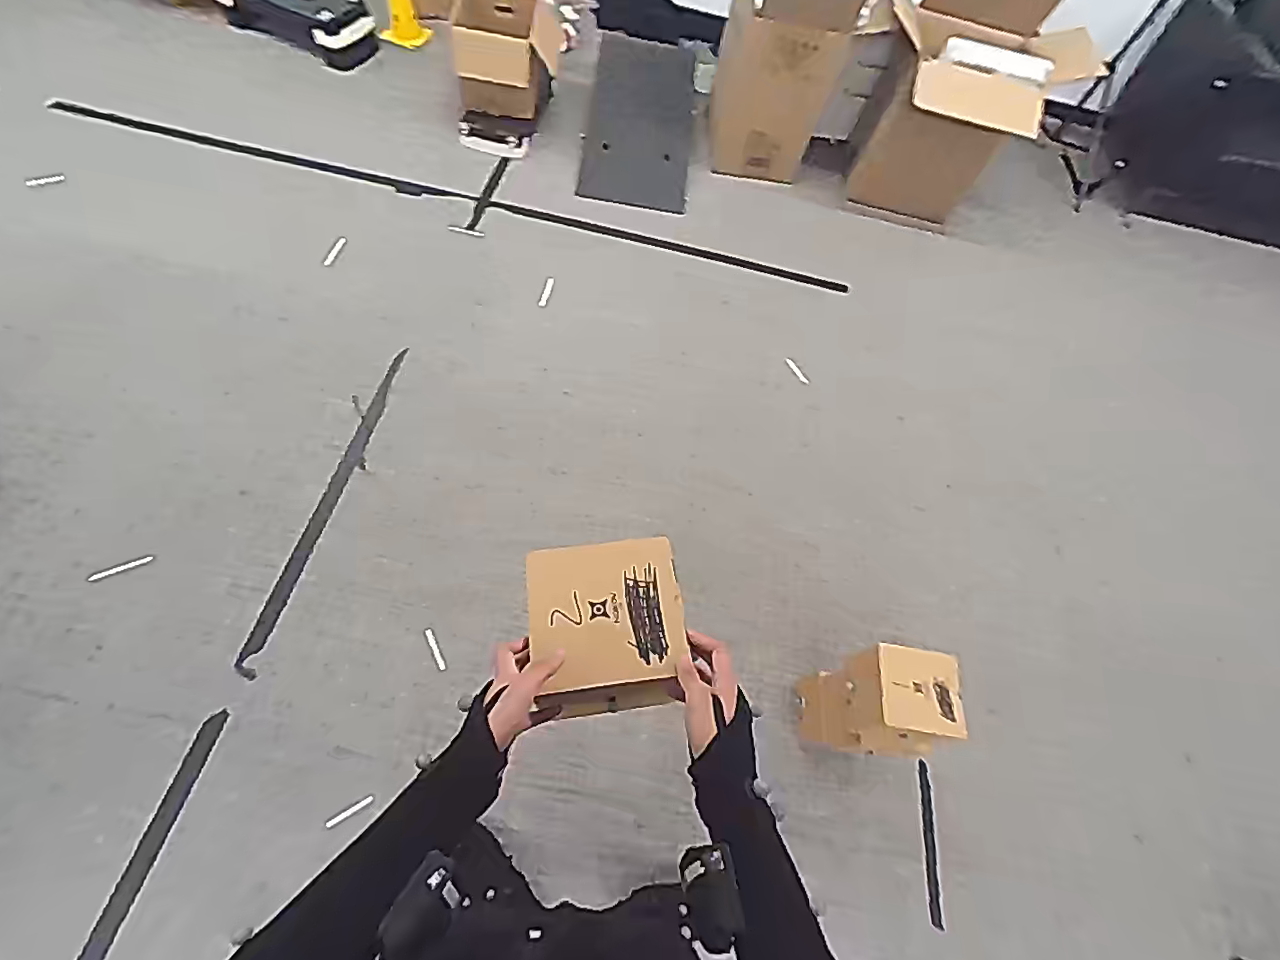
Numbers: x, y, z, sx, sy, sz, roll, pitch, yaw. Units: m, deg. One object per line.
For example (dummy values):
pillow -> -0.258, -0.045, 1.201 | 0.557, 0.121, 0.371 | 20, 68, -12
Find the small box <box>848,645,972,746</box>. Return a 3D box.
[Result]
small box -> 0.570, 0.469, 1.165 | 0.179, 0.176, 0.168 | 11, 60, -2

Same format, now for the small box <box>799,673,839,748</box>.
small box -> 0.545, 0.625, 1.453 | 0.179, 0.176, 0.168 | 9, 62, -4

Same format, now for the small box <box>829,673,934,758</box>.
small box -> 0.569, 0.563, 1.302 | 0.168, 0.176, 0.179 | 8, 62, -4
